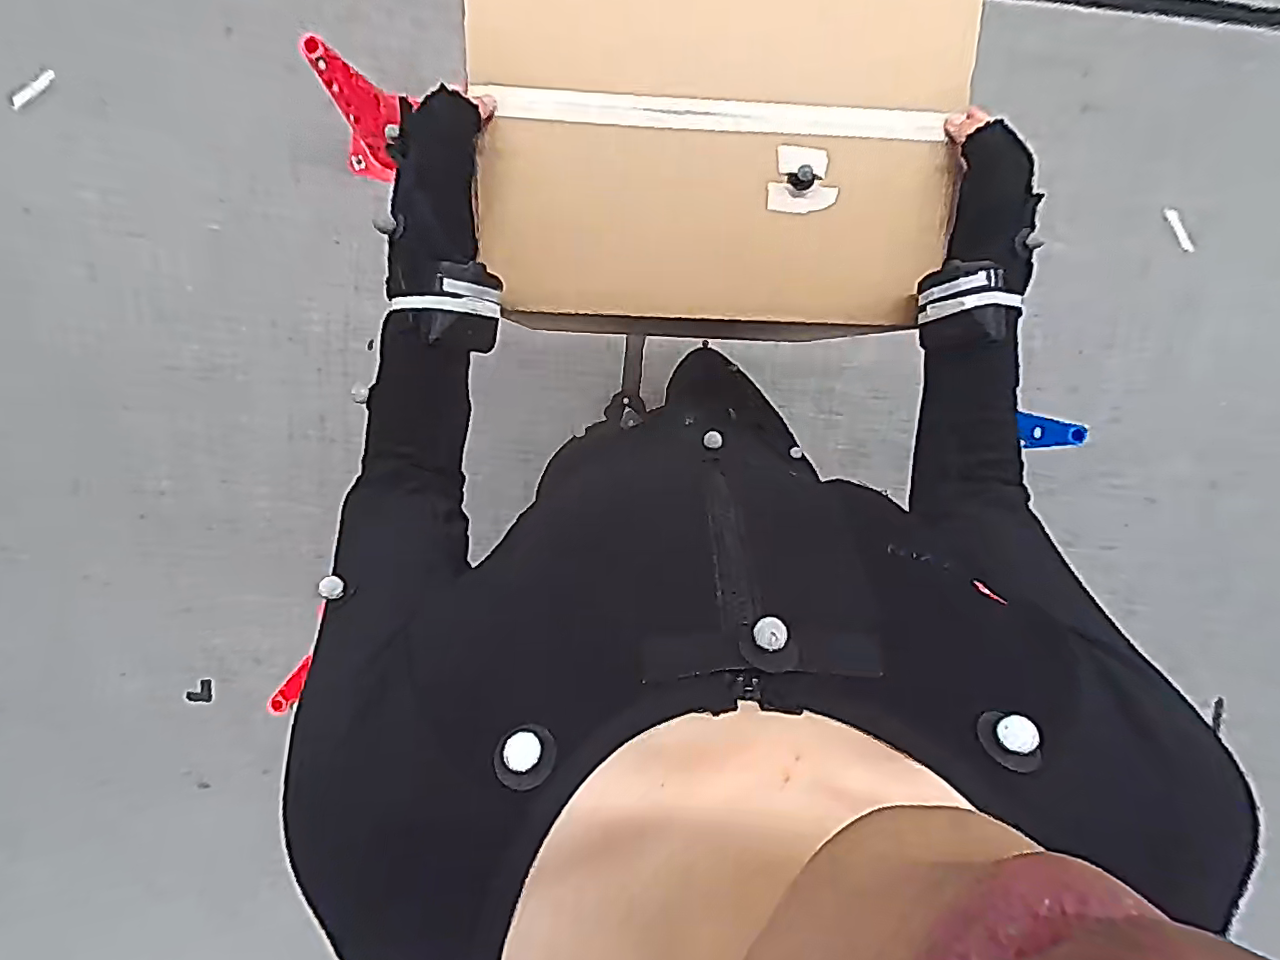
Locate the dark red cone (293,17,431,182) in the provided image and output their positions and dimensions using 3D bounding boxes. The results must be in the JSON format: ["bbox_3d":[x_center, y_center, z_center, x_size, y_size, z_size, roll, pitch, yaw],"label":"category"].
[{"bbox_3d":[-0.601,-0.813,1.137,0.201,0.394,0.202,10,98,-4],"label":"dark red cone"}]

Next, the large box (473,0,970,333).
[{"bbox_3d":[0.056,-0.332,0.588,0.408,0.320,0.320,1,102,-4],"label":"large box"}]

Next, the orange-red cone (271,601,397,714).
[{"bbox_3d":[-0.775,0.461,1.332,0.198,0.360,0.199,2,99,-1],"label":"orange-red cone"}]
